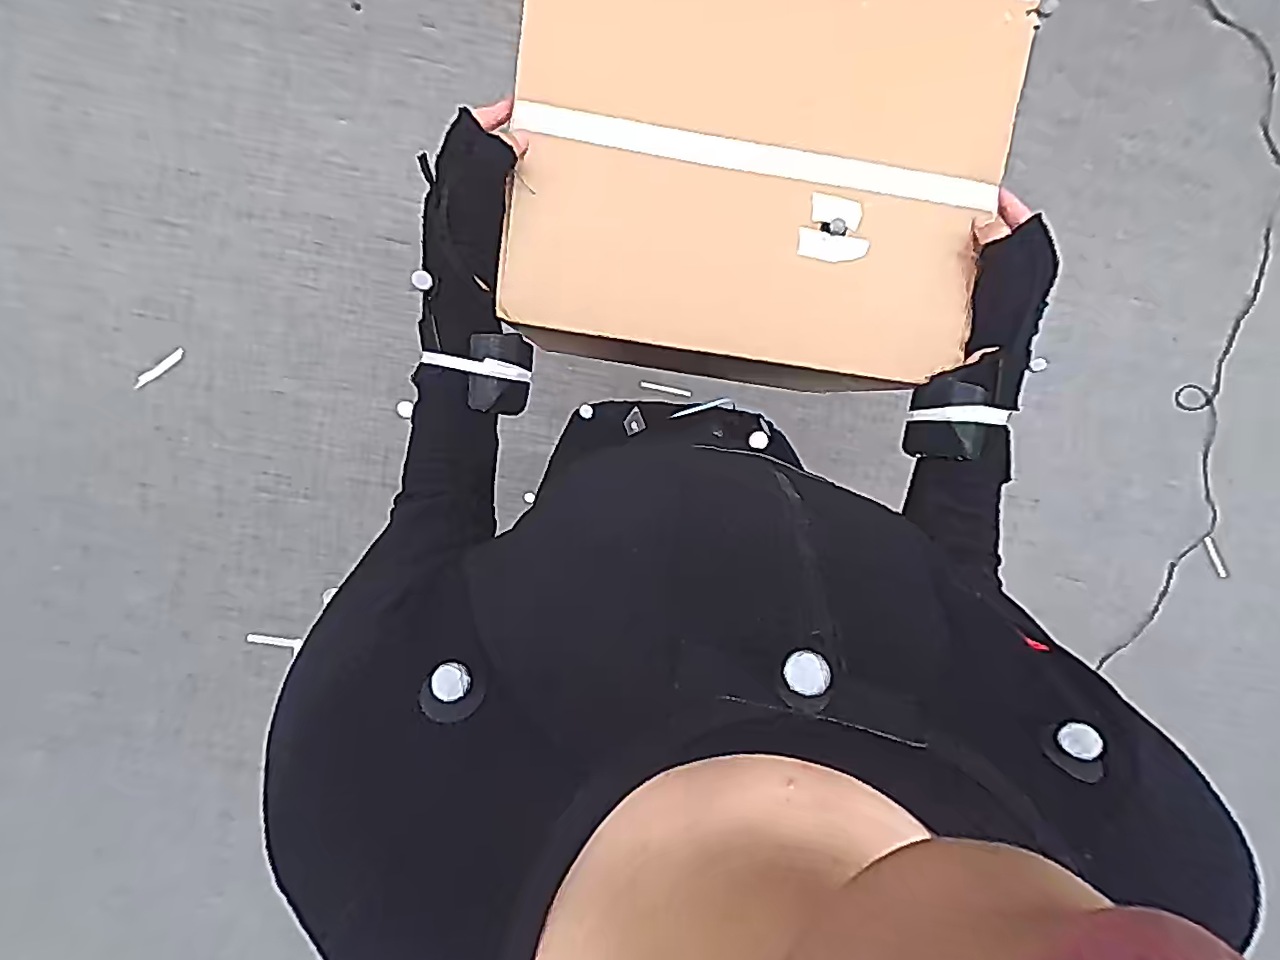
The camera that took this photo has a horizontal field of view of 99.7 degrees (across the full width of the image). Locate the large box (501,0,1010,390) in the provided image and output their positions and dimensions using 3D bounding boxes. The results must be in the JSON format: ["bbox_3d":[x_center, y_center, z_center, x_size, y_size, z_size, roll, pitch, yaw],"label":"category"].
[{"bbox_3d":[0.083,-0.280,0.600,0.408,0.320,0.320,8,99,-6],"label":"large box"}]
